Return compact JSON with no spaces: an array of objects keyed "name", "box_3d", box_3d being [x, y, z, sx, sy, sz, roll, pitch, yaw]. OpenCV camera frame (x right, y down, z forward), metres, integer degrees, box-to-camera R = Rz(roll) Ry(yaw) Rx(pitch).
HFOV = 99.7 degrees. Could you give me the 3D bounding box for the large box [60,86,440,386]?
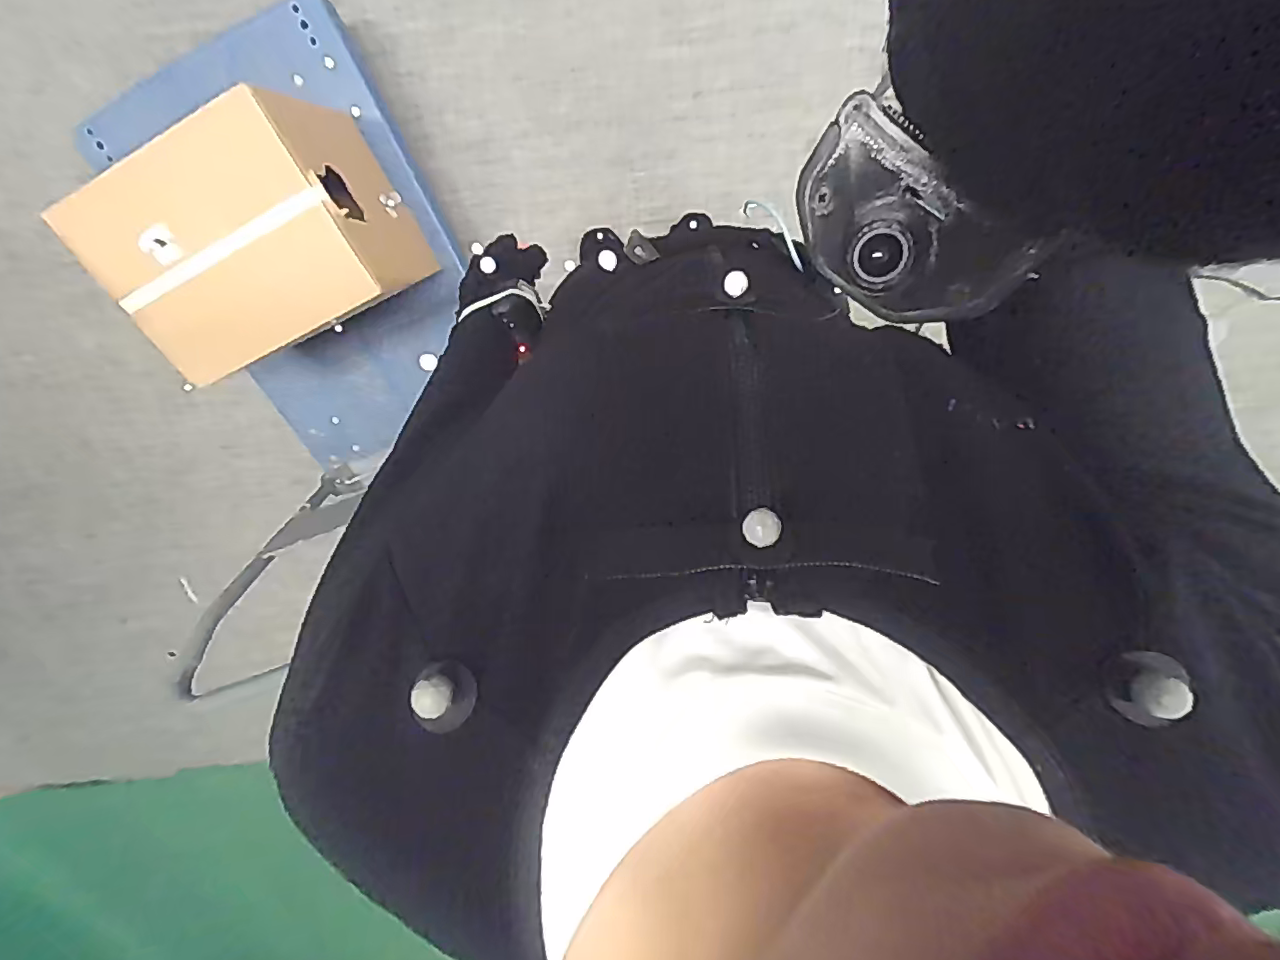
[{"name":"large box","box_3d":[-0.662,-0.433,0.994,0.408,0.320,0.320,-22,115,12]}]
